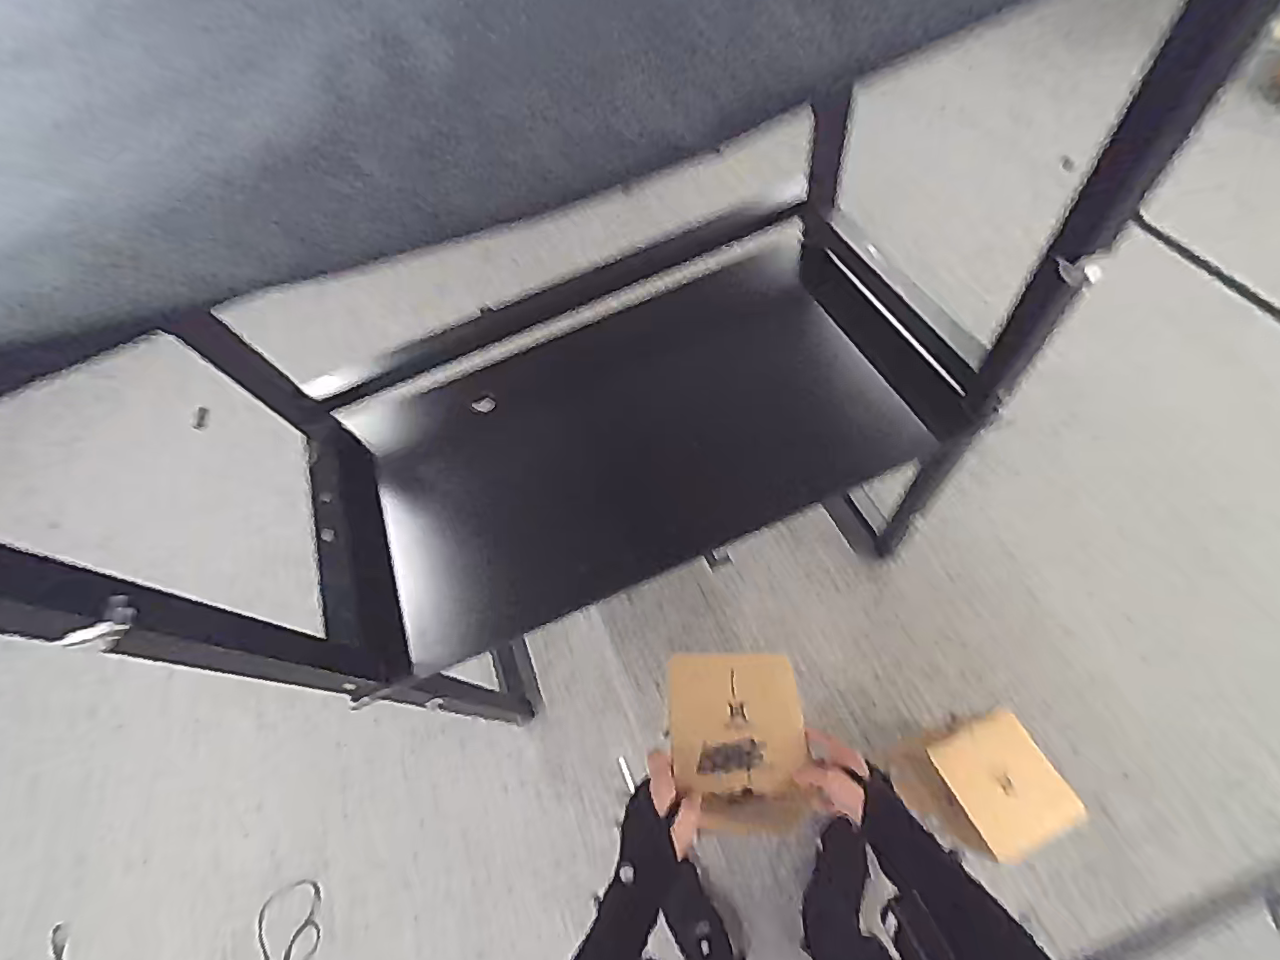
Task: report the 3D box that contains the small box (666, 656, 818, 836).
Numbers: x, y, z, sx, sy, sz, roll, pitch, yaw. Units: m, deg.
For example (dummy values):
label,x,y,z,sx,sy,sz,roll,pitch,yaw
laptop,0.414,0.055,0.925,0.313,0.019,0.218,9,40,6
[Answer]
label,x,y,z,sx,sy,sz,roll,pitch,yaw
small box,0.120,0.355,0.717,0.168,0.176,0.179,-1,43,0

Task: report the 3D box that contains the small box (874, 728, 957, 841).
label,x,y,z,sx,sy,sz,roll,pitch,yaw
small box,0.666,0.685,1.229,0.179,0.176,0.168,-26,60,-3

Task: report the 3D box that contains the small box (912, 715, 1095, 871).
label,x,y,z,sx,sy,sz,roll,pitch,yaw
small box,0.615,0.536,0.943,0.168,0.176,0.179,-27,60,-4
